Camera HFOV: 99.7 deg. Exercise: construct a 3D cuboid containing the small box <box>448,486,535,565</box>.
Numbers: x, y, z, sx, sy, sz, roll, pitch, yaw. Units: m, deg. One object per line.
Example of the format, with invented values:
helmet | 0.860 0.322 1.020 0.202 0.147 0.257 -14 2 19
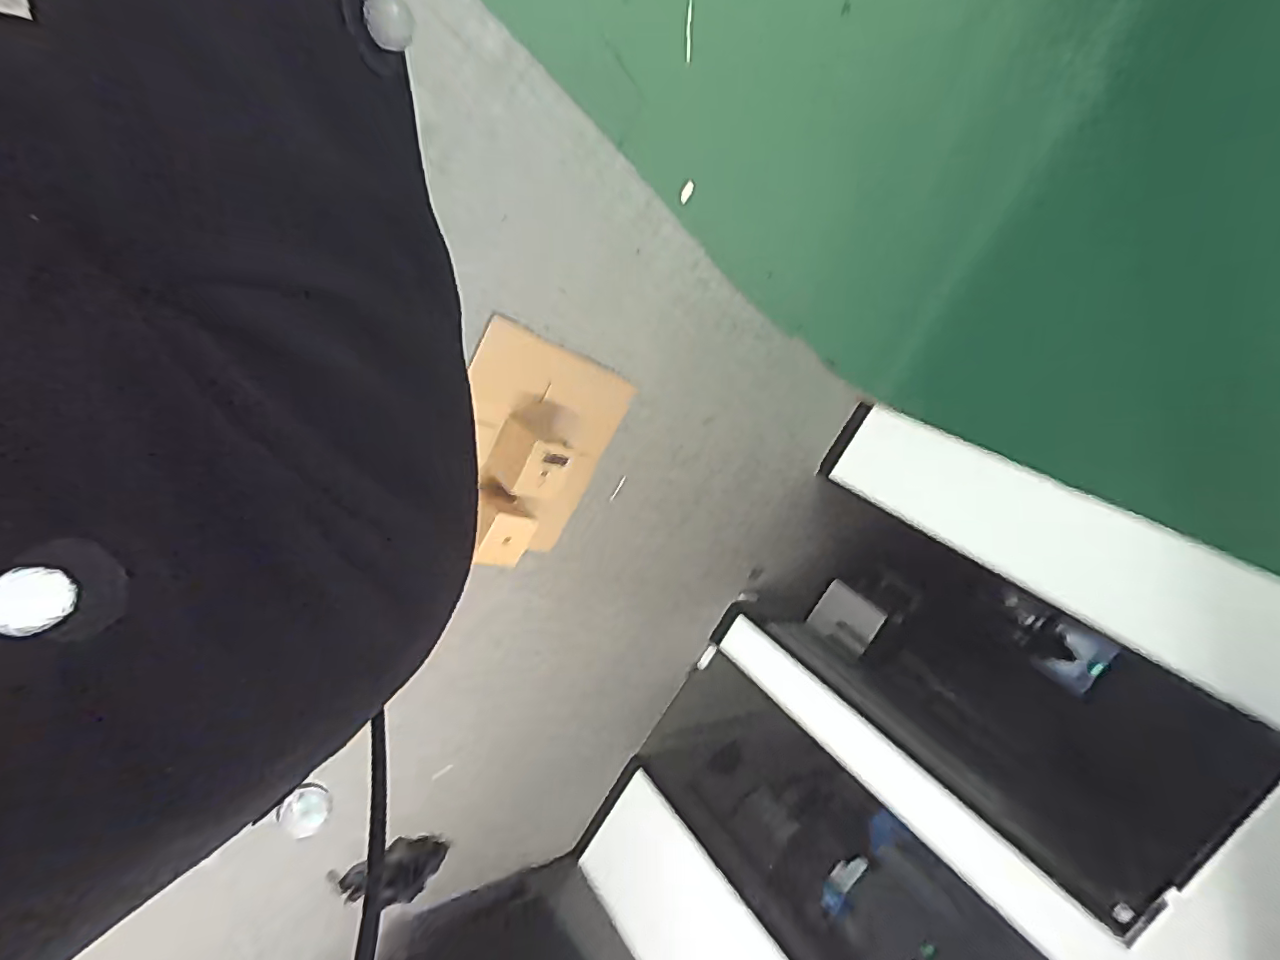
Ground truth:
small box | -0.461 0.138 1.659 0.168 0.176 0.179 18 106 -50
